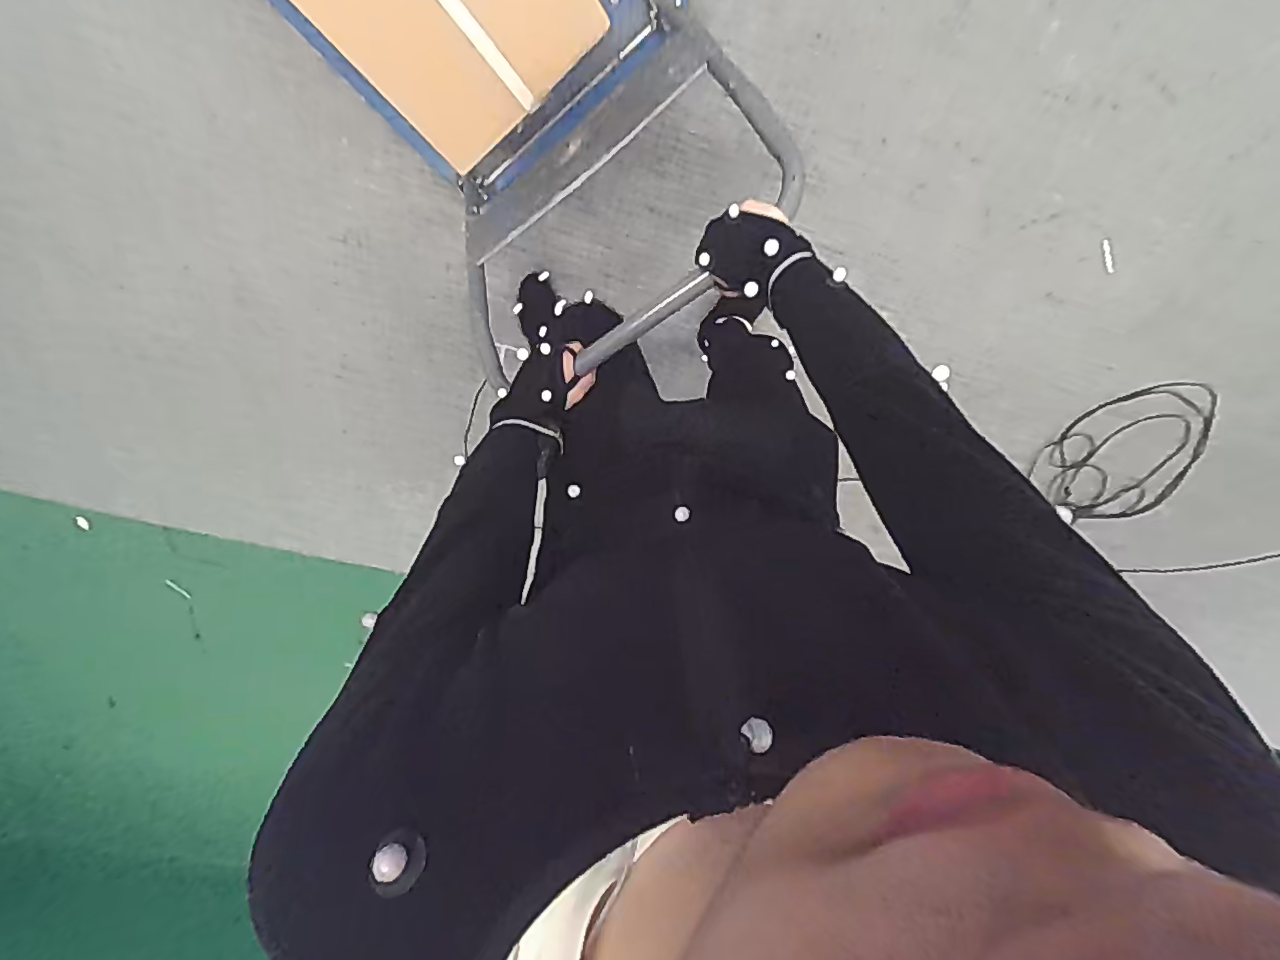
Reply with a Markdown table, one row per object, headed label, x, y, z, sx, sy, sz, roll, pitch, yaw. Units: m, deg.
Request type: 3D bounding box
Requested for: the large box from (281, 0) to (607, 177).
| label | x | y | z | sx | sy | sz | roll | pitch | yaw |
| --- | --- | --- | --- | --- | --- | --- | --- | --- | --- |
| large box | -0.302 | -0.759 | 0.781 | 0.320 | 0.320 | 0.408 | -31 | 138 | 23 |
